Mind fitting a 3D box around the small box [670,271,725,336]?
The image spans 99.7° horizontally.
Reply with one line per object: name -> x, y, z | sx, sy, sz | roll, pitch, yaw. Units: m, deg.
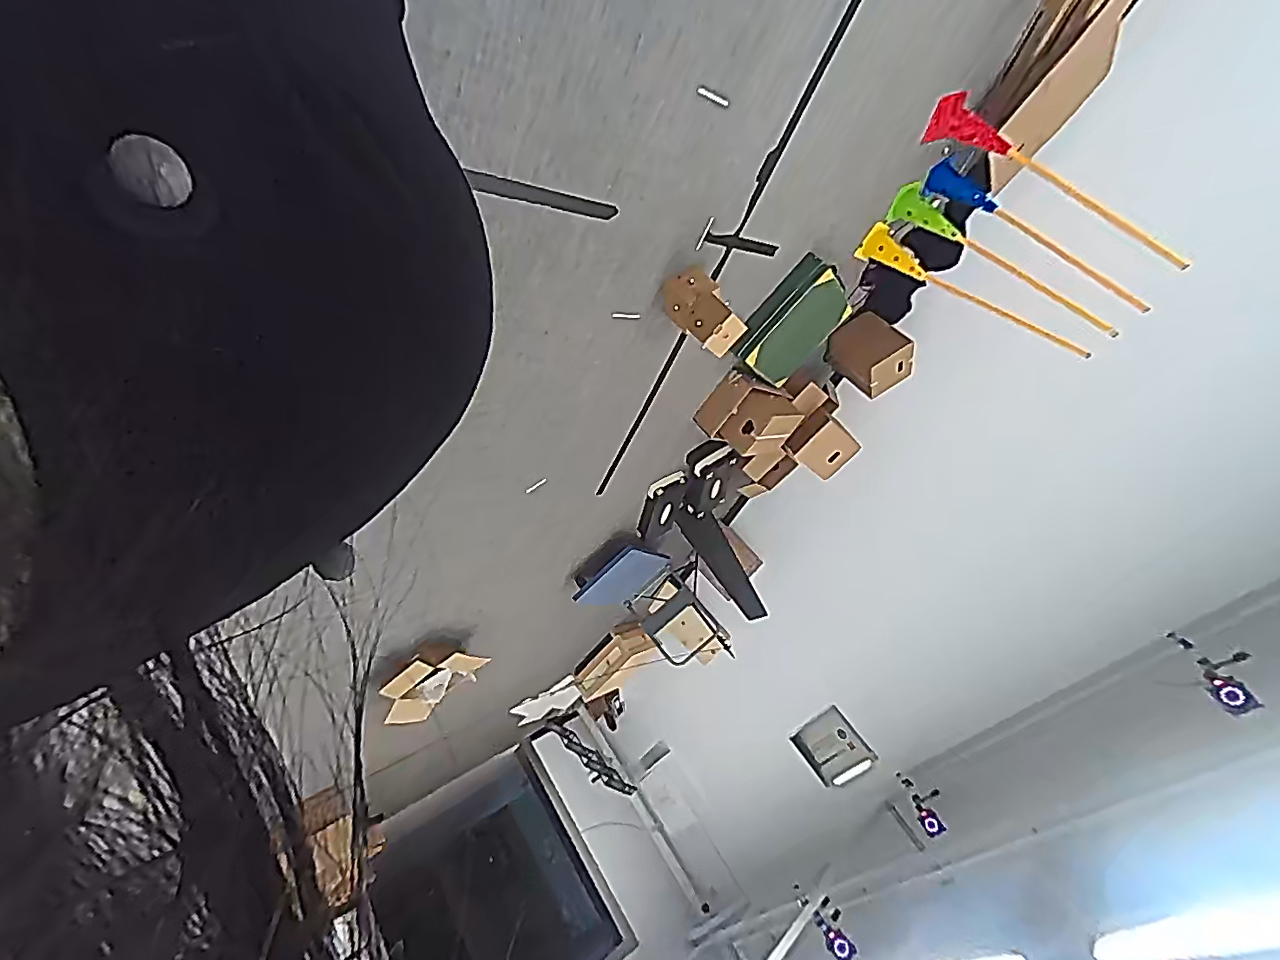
small box -> 0.236, -0.747, 2.264 | 0.168, 0.176, 0.179 | -32, 155, -13

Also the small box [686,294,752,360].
small box -> 0.317, -0.624, 2.187 | 0.168, 0.176, 0.179 | -45, 154, 18
